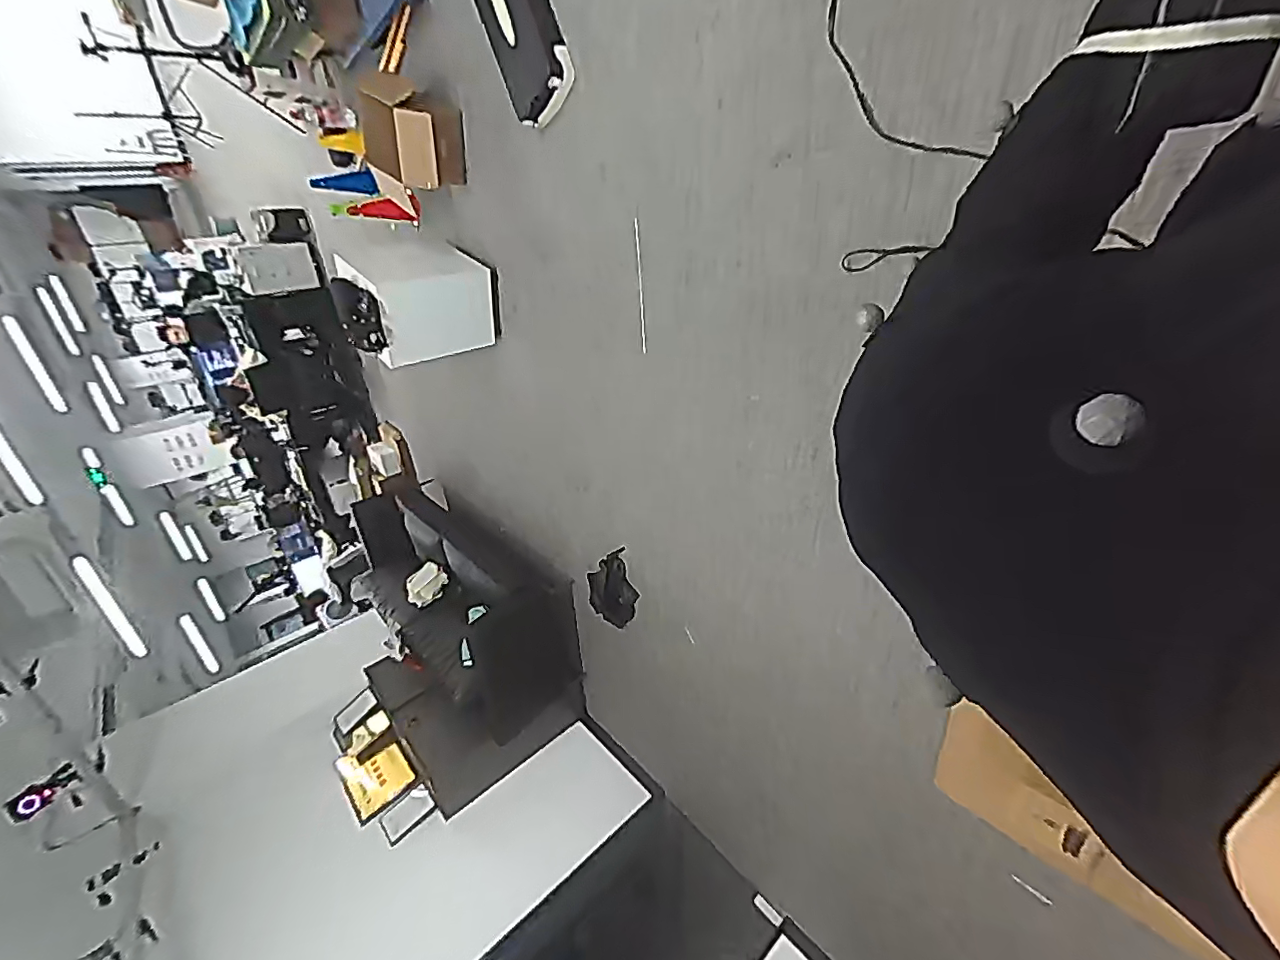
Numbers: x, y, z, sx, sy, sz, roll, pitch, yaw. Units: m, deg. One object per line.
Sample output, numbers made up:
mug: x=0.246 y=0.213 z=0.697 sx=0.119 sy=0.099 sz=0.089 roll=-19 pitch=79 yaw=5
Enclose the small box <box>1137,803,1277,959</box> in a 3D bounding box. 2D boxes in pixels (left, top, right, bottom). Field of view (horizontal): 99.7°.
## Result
small box: x=1.225 y=0.856 z=1.167 sx=0.168 sy=0.176 sz=0.179 roll=23 pitch=127 yaw=43
